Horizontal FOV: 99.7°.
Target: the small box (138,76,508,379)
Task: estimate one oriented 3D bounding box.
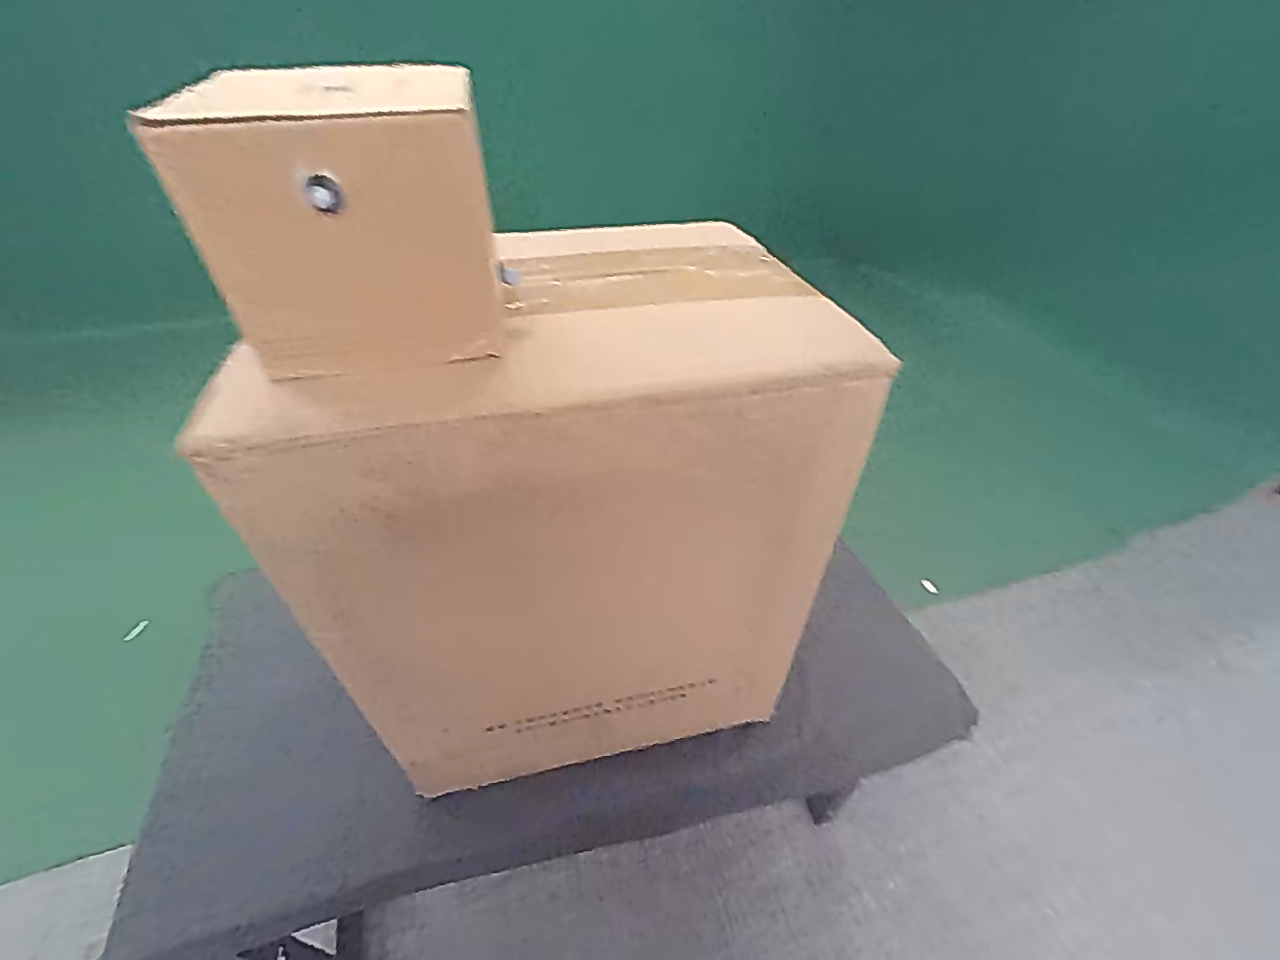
[{"bbox_3d":[-0.205,-0.192,0.413,0.179,0.176,0.168,-8,46,-12],"label":"small box"}]
